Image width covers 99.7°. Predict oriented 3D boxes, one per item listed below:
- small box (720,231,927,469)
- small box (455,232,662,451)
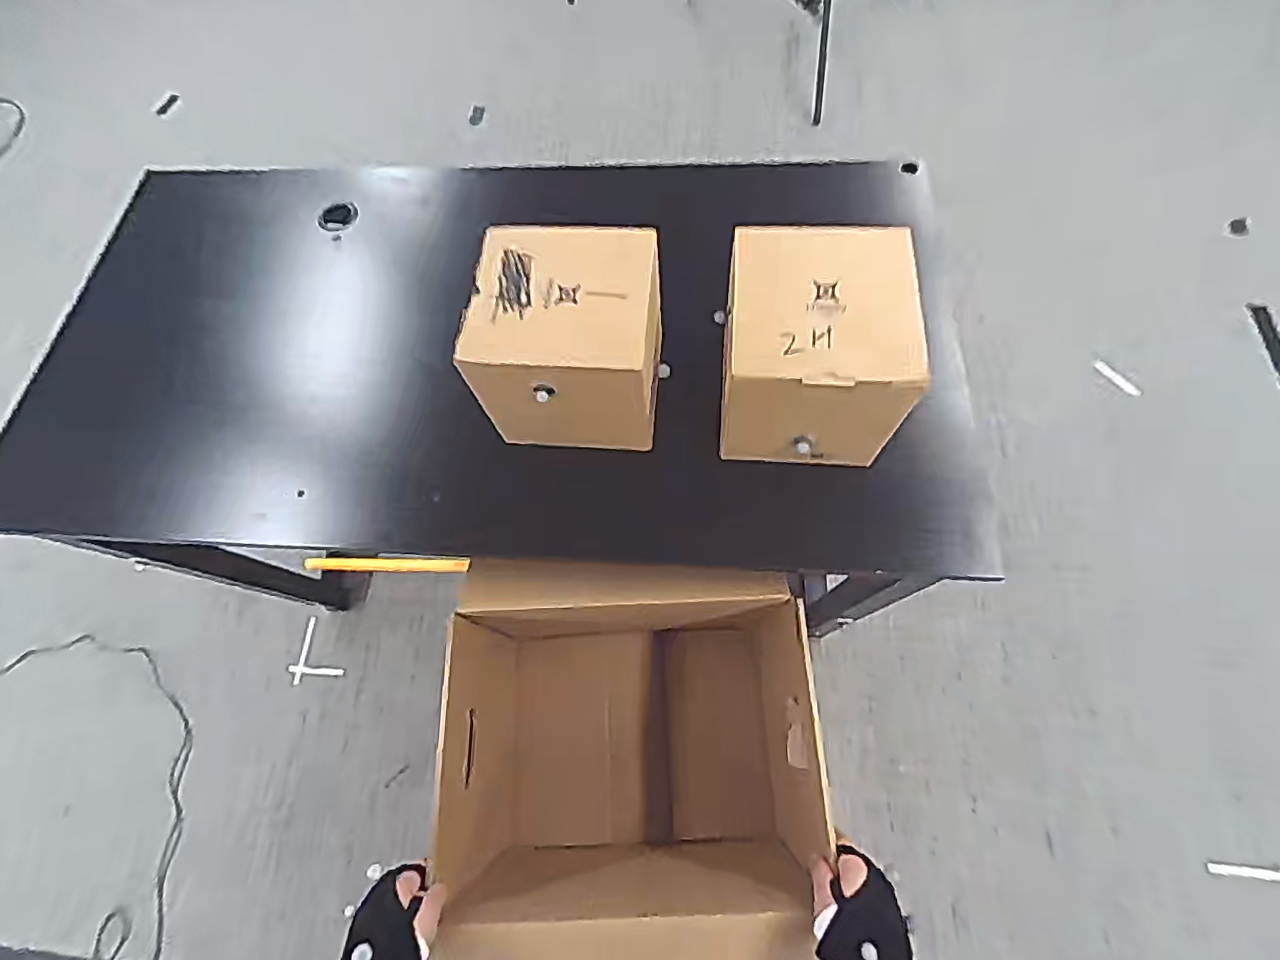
[{"bbox_3d":[0.173,-0.129,0.564,0.168,0.176,0.179,3,67,7],"label":"small box"},{"bbox_3d":[-0.071,-0.142,0.589,0.179,0.176,0.168,4,68,5],"label":"small box"}]
